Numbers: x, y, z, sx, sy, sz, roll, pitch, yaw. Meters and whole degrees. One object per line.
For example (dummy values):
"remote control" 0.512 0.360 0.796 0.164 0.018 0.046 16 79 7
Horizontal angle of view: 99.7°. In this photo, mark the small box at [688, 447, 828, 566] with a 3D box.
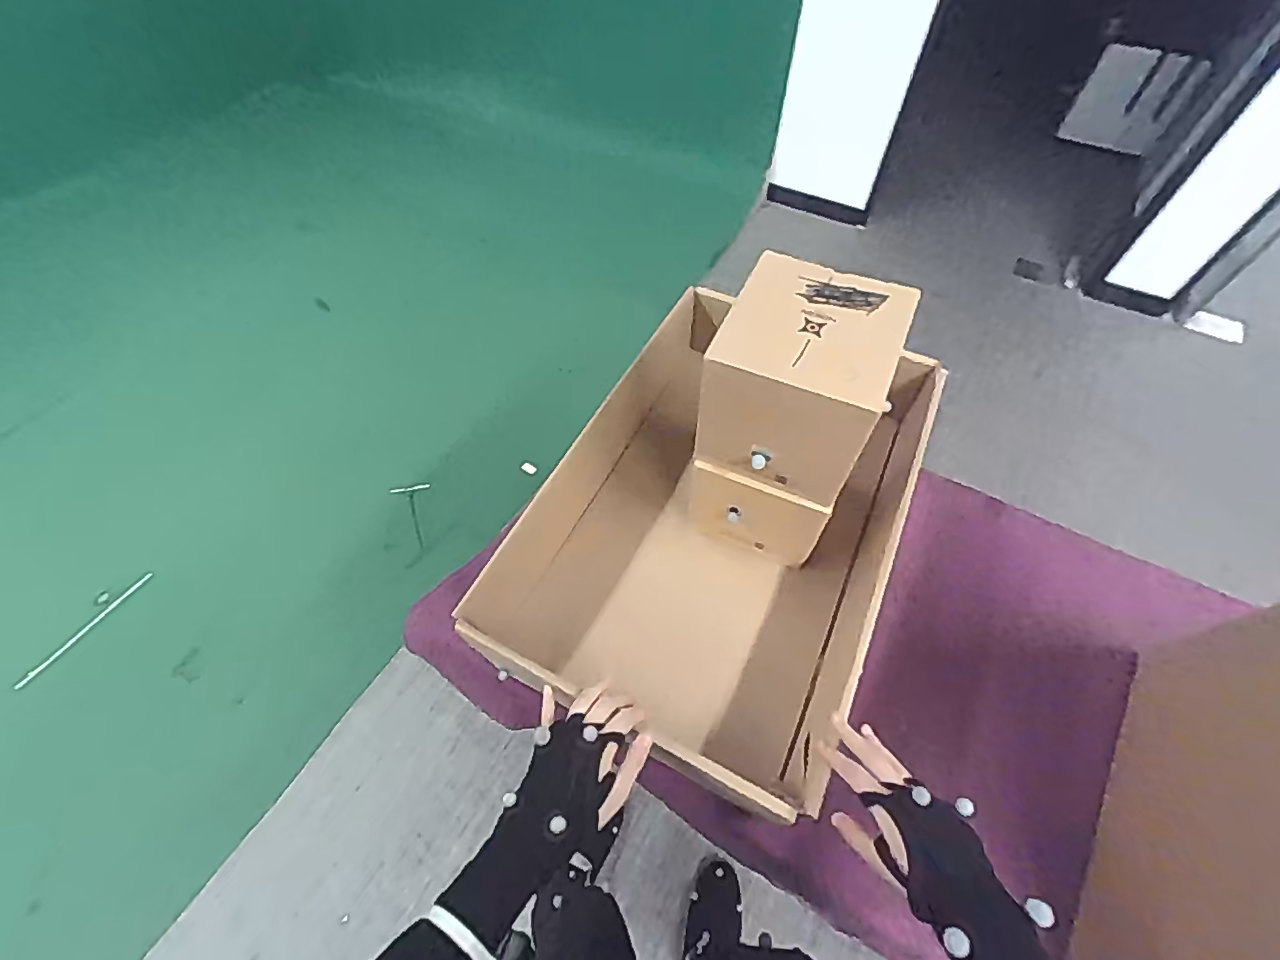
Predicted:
"small box" 0.171 -0.010 0.725 0.168 0.176 0.179 20 60 15

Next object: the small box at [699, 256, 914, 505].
"small box" 0.169 -0.104 0.590 0.168 0.176 0.179 21 62 16
